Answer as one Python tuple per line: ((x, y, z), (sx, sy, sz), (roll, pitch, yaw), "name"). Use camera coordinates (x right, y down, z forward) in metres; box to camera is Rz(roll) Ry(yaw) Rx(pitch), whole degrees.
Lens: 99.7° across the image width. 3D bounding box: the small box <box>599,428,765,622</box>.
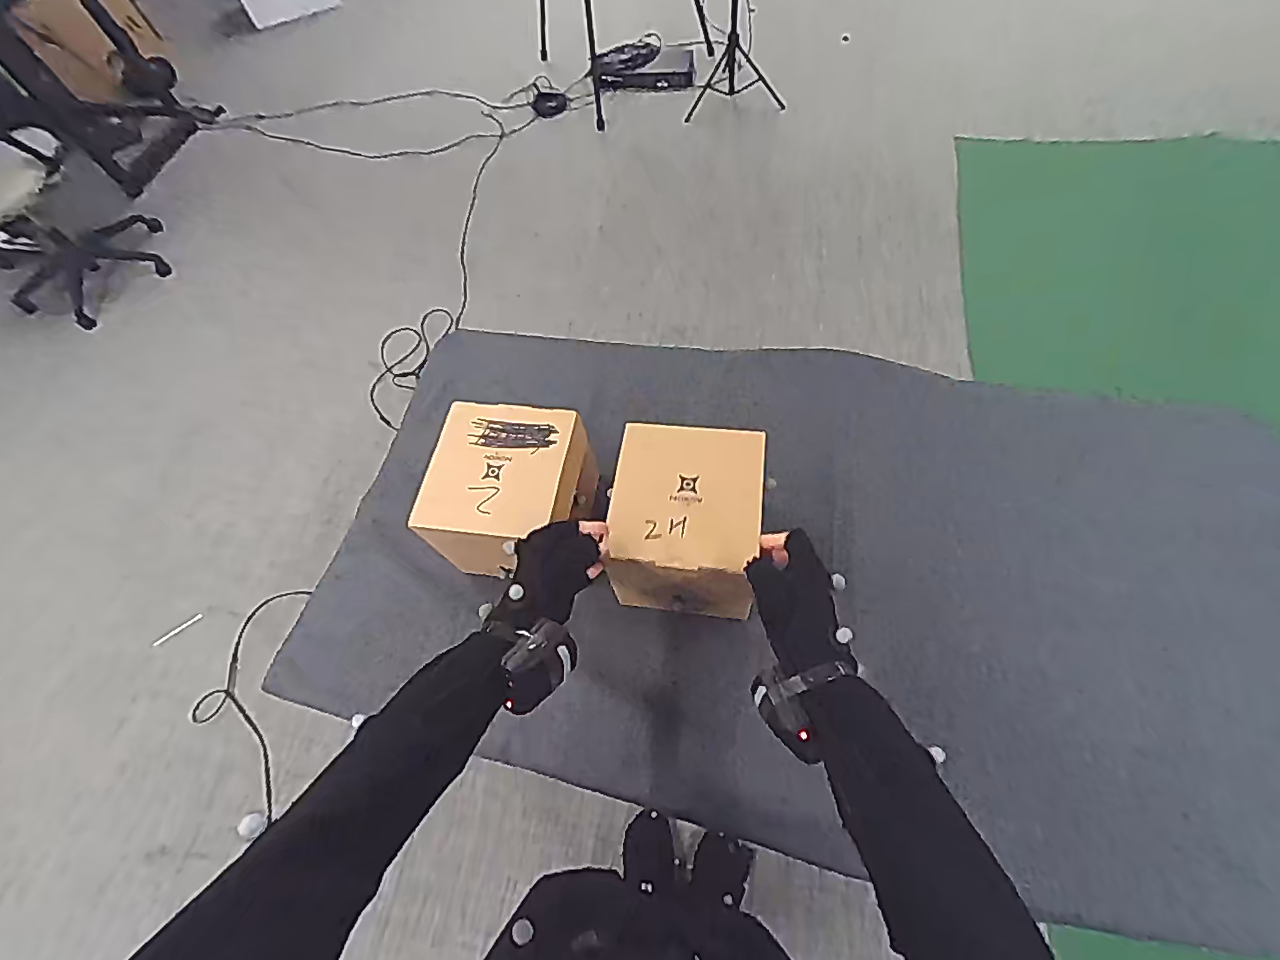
((0.057, 0.059, 0.665), (0.168, 0.176, 0.179), (5, 63, 10), "small box")
